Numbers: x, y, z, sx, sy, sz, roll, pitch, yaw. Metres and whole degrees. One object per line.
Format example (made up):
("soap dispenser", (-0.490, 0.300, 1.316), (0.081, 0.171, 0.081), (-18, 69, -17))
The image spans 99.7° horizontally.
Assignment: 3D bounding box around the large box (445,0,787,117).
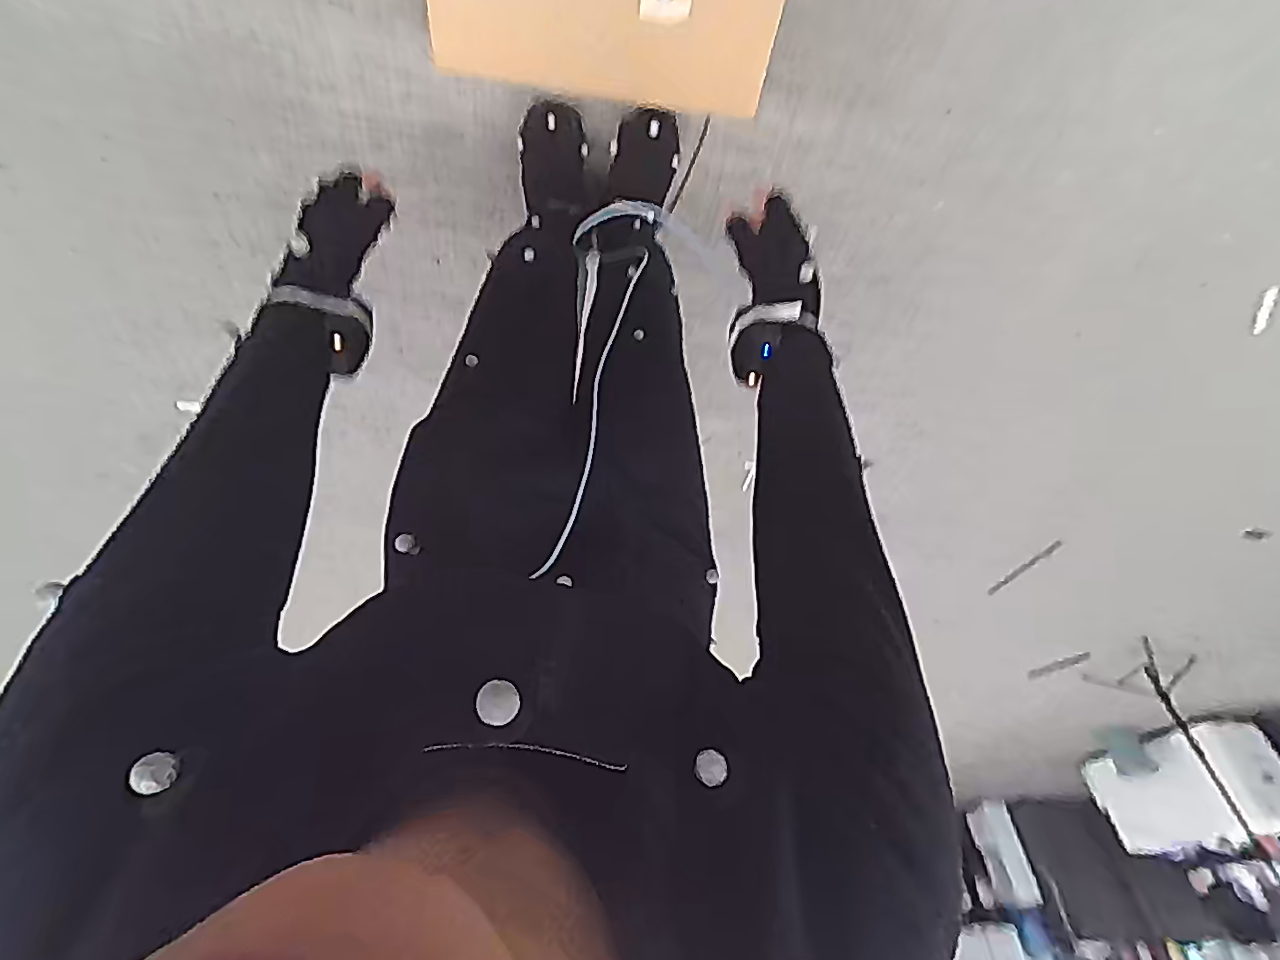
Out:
("large box", (-0.024, -0.706, 0.685), (0.408, 0.320, 0.320), (5, 139, -7))
